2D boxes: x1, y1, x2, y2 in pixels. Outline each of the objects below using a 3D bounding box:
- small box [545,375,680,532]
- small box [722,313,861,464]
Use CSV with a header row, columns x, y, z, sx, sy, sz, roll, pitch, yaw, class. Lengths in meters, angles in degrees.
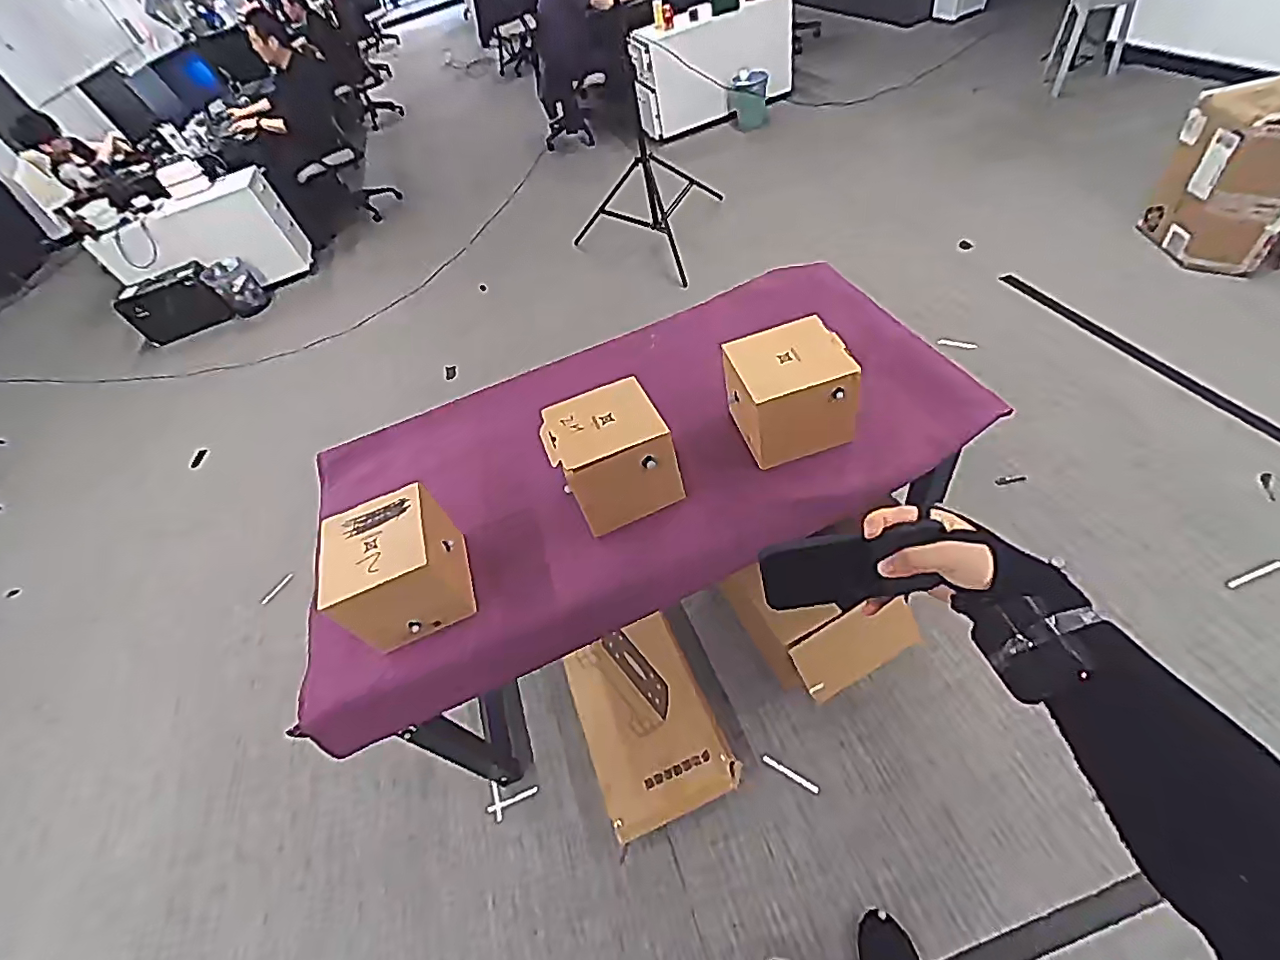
x,y,z,sx,sy,sz,roll,pitch,yaw,class
-0.040,-0.044,0.929,0.179,0.176,0.168,-24,47,-5,small box
0.259,-0.154,0.940,0.179,0.176,0.168,-18,49,0,small box
